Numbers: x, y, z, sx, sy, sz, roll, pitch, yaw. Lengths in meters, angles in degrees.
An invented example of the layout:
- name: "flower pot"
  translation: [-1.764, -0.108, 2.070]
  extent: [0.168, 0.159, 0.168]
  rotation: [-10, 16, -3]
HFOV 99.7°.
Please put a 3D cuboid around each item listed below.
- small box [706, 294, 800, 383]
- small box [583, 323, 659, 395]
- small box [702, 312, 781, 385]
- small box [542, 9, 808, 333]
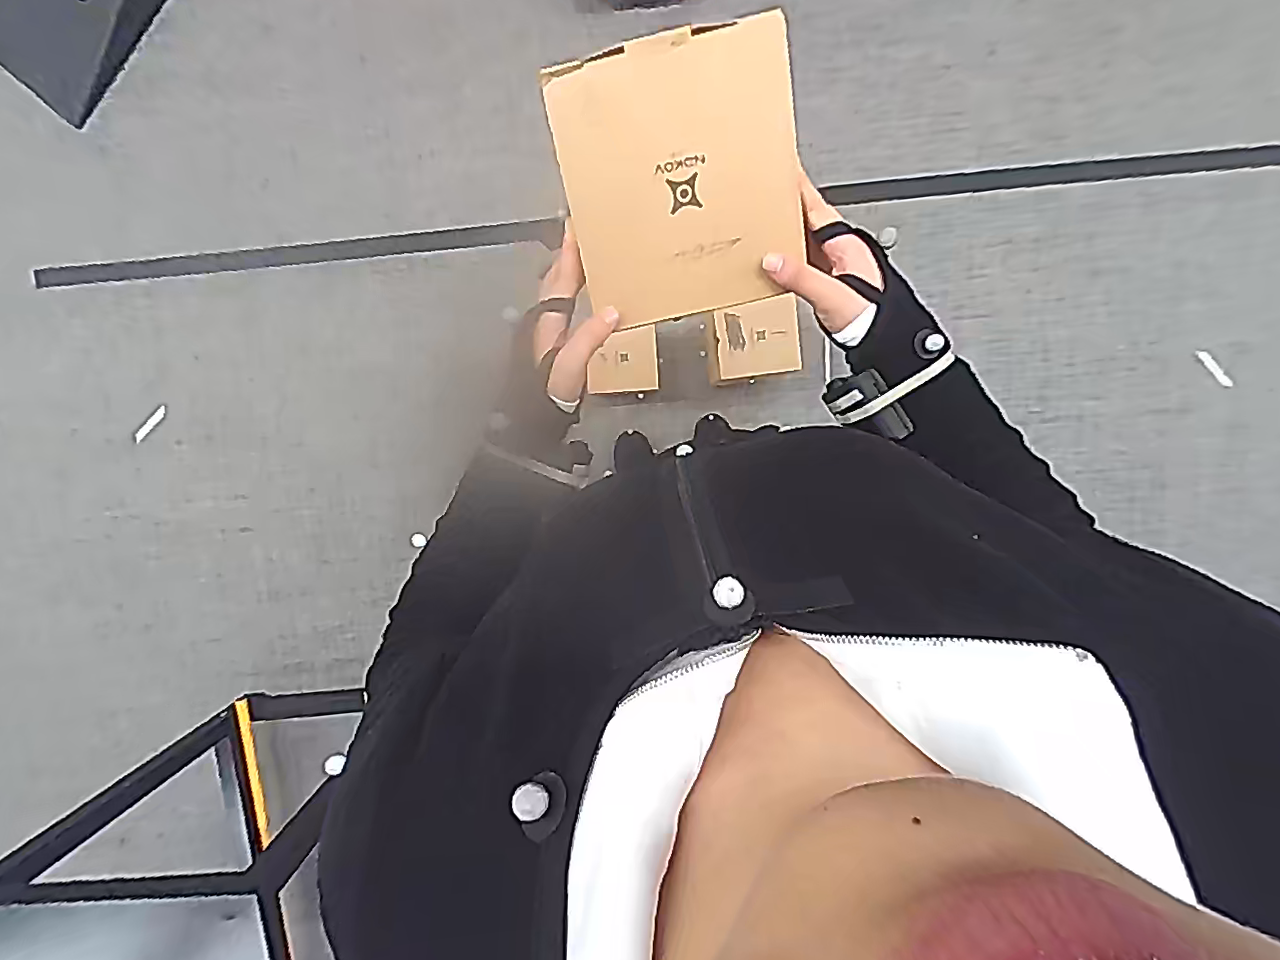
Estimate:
- name: "small box"
  translation: [0.242, -0.311, 1.201]
  extent: [0.179, 0.176, 0.168]
  rotation: [-7, 97, 1]
- name: "small box"
  translation: [-0.044, -0.303, 1.372]
  extent: [0.179, 0.176, 0.168]
  rotation: [-3, 97, 2]
- name: "small box"
  translation: [0.252, -0.336, 1.365]
  extent: [0.168, 0.176, 0.179]
  rotation: [-7, 98, 2]
- name: "small box"
  translation: [0.027, -0.235, 0.449]
  extent: [0.168, 0.176, 0.179]
  rotation: [-11, 113, 3]
